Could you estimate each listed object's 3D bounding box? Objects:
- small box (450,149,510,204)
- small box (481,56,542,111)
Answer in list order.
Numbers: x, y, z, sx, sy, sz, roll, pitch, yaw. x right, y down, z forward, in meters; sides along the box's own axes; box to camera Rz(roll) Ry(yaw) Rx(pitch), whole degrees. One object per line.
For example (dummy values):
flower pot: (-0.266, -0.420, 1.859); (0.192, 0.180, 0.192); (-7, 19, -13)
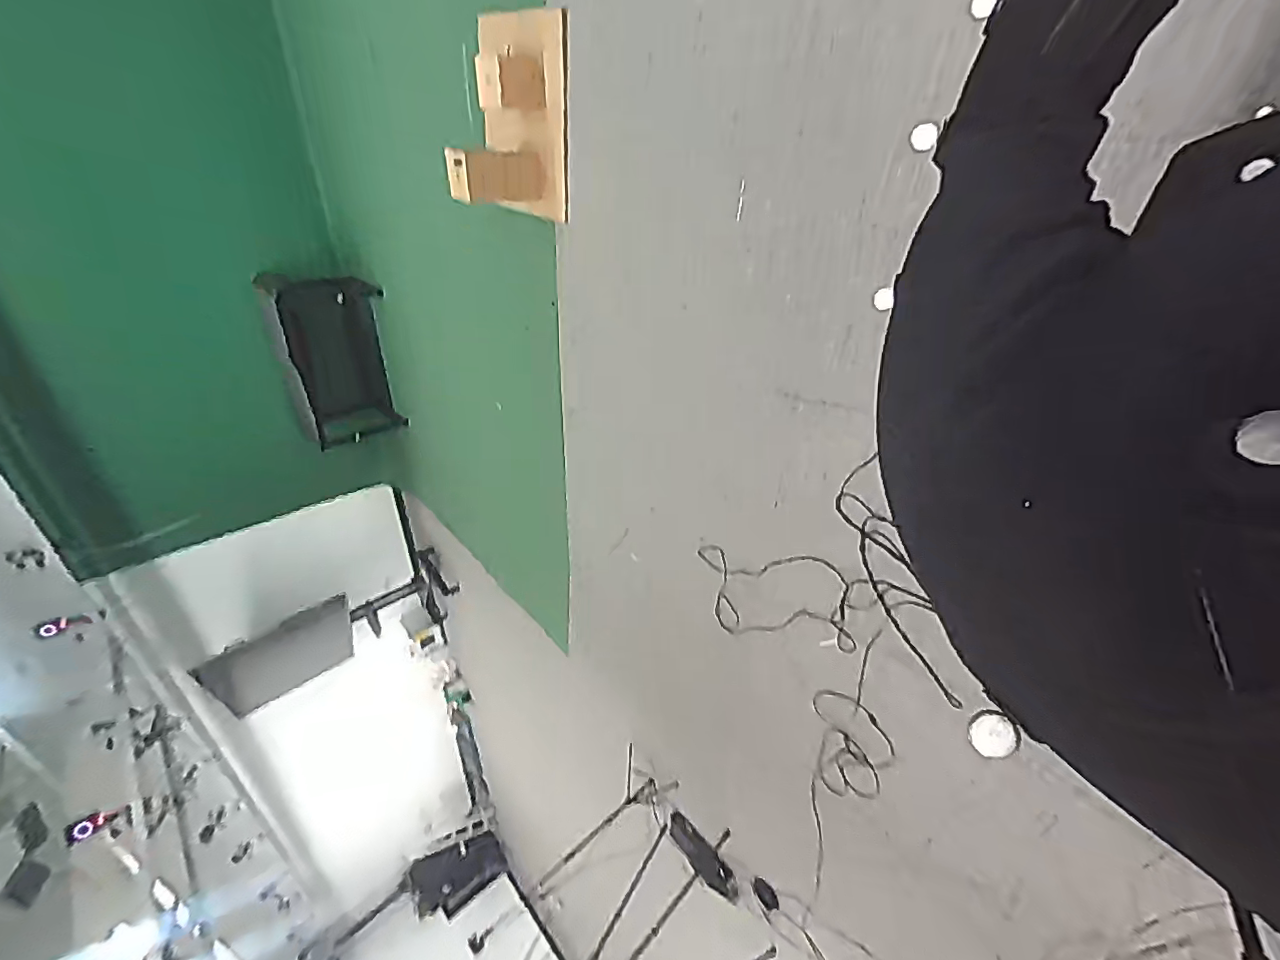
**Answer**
small box: (-0.650, -1.247, 2.212); (0.168, 0.176, 0.179); (36, 137, 34)
small box: (-0.505, -1.560, 2.133); (0.179, 0.176, 0.168); (32, 133, 37)
